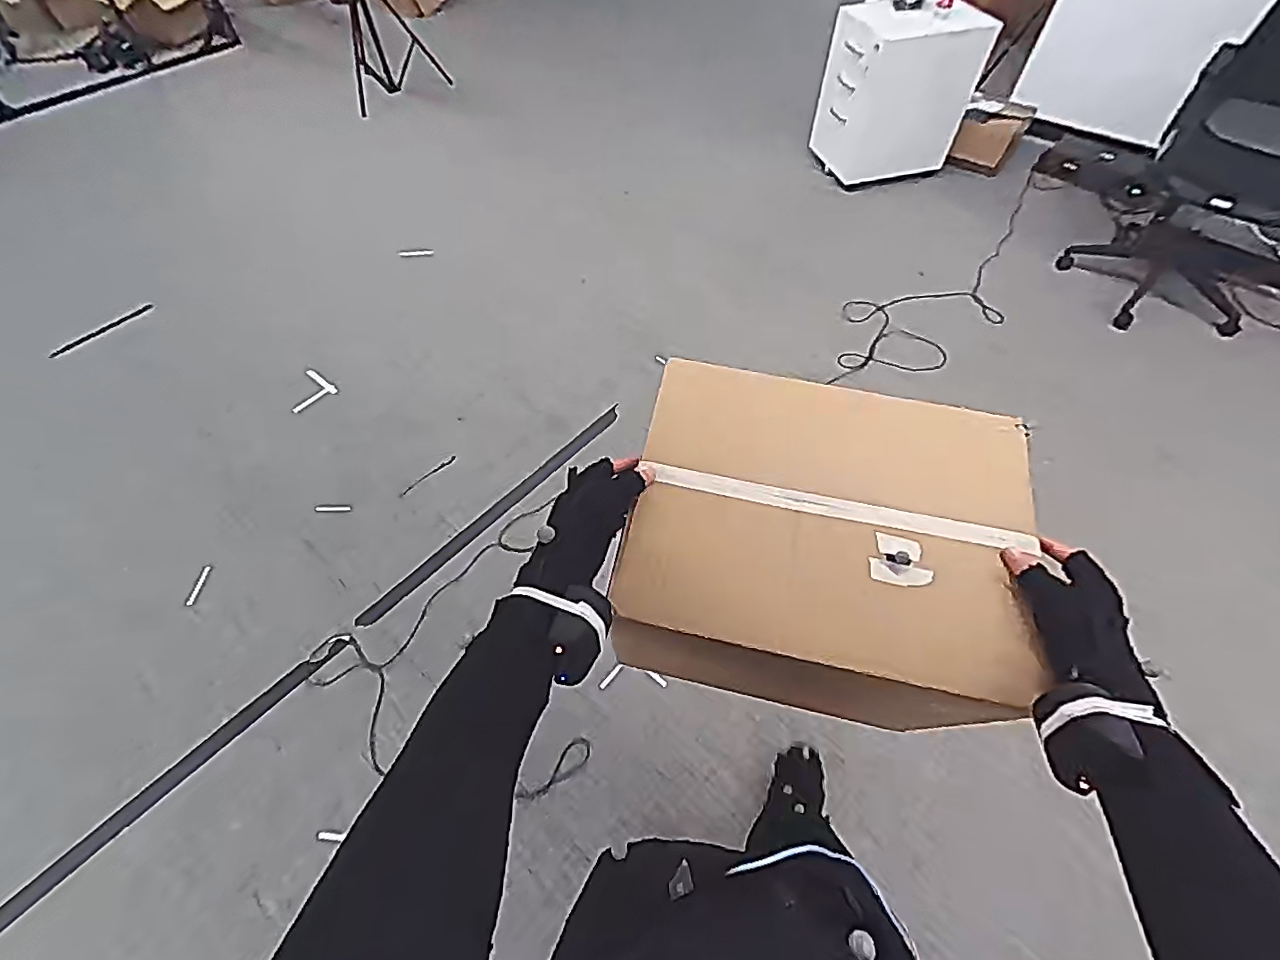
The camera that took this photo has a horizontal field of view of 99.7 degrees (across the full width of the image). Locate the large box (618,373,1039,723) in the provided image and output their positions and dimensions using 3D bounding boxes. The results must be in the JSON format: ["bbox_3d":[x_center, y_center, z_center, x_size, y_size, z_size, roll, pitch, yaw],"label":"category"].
[{"bbox_3d":[0.198,0.104,0.705,0.408,0.320,0.320,12,65,5],"label":"large box"}]
